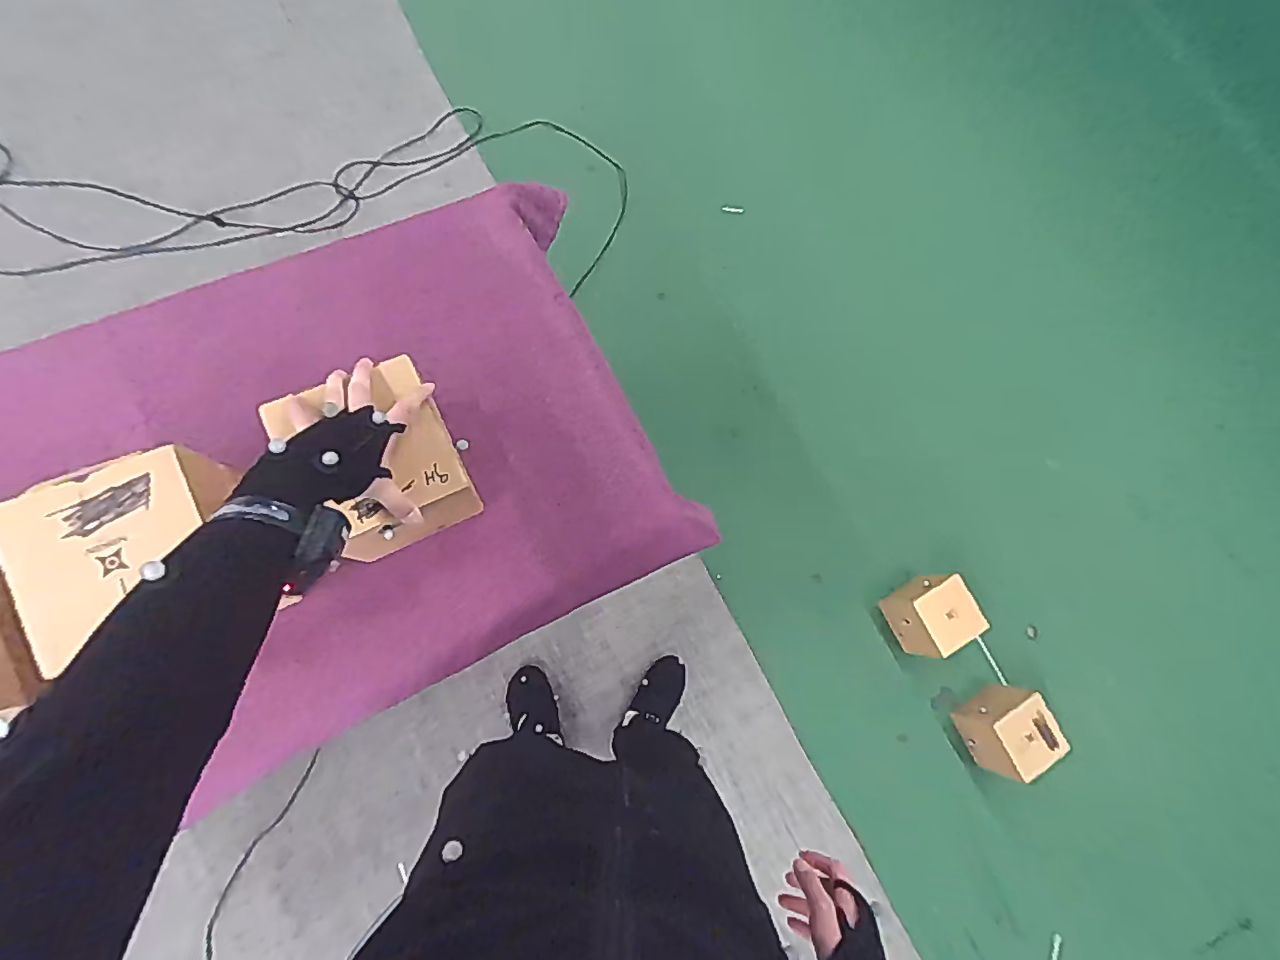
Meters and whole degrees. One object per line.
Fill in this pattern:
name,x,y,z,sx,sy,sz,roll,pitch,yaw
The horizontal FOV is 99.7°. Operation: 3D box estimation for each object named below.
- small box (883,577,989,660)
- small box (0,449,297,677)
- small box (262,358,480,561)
small box,0.827,0.391,1.535,0.179,0.176,0.168,-25,82,-16
small box,-0.524,0.092,0.600,0.168,0.176,0.179,-24,83,-15
small box,-0.312,-0.015,0.664,0.168,0.176,0.179,-25,82,-14
